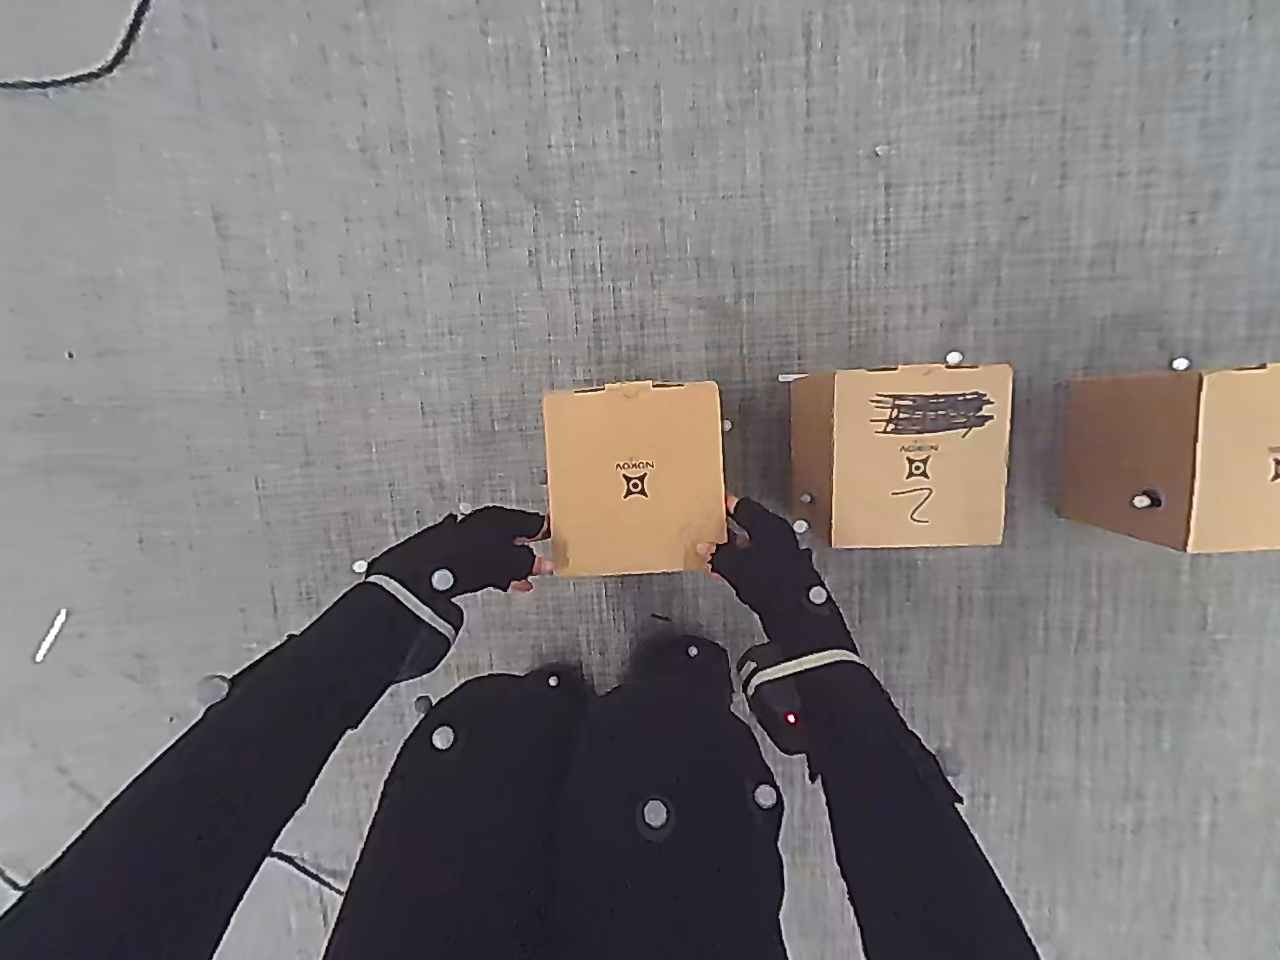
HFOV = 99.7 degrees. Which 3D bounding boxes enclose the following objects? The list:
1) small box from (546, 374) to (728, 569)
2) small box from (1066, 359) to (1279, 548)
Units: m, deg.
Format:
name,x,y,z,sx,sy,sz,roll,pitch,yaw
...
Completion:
name,x,y,z,sx,sy,sz,roll,pitch,yaw
small box,0.000,-0.009,0.578,0.168,0.176,0.179,-3,91,1
small box,0.600,-0.035,0.579,0.168,0.176,0.179,-3,97,3
